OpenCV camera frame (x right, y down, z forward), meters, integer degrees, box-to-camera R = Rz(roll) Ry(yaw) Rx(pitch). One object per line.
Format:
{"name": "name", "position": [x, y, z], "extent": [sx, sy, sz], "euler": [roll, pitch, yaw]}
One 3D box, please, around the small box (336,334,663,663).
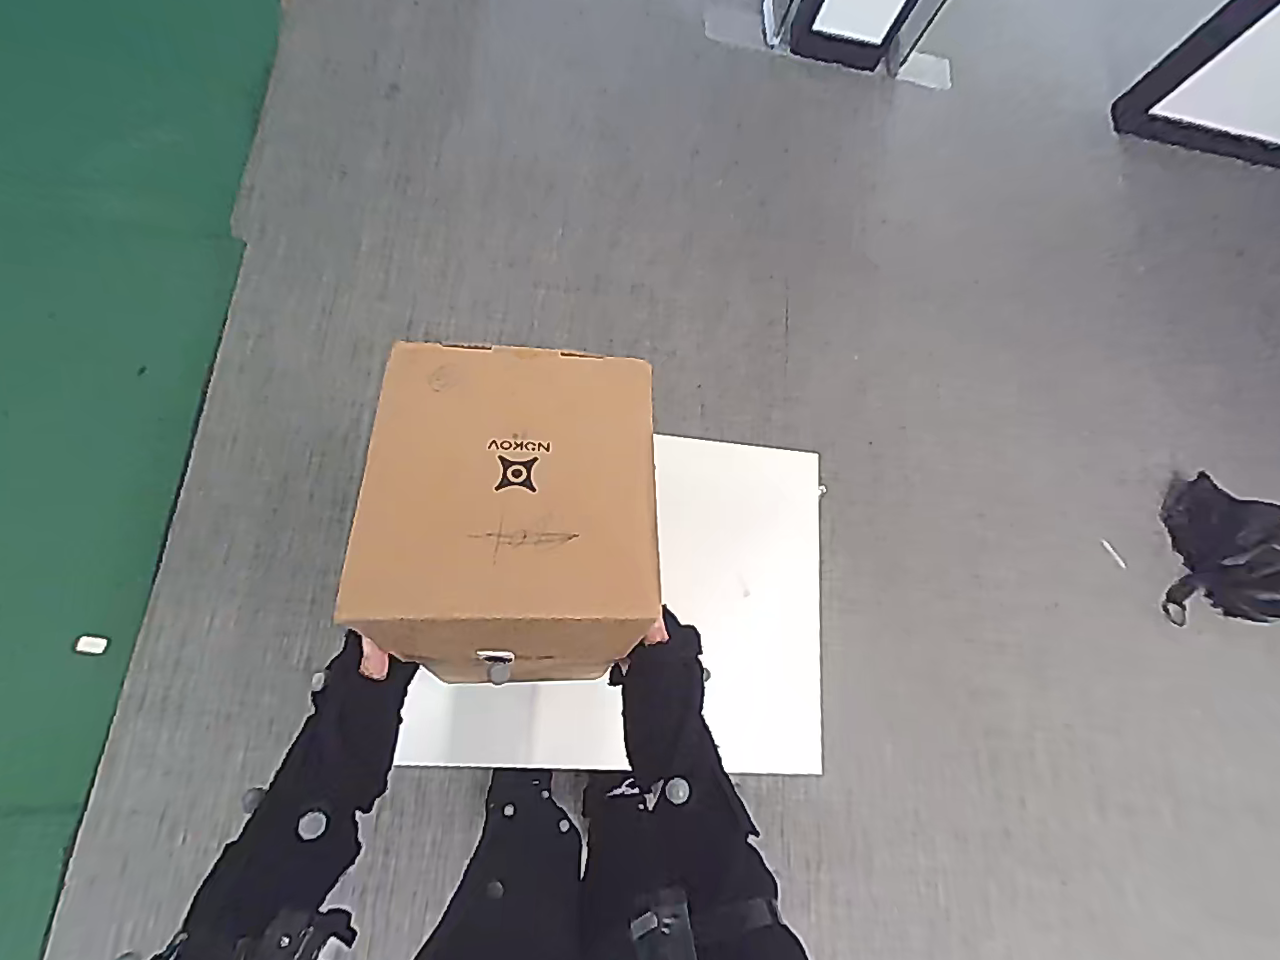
{"name": "small box", "position": [-0.084, 0.025, 0.381], "extent": [0.168, 0.176, 0.179], "euler": [1, 64, -9]}

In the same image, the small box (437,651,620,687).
{"name": "small box", "position": [-0.113, 0.103, 0.541], "extent": [0.168, 0.176, 0.179], "euler": [2, 62, -10]}
